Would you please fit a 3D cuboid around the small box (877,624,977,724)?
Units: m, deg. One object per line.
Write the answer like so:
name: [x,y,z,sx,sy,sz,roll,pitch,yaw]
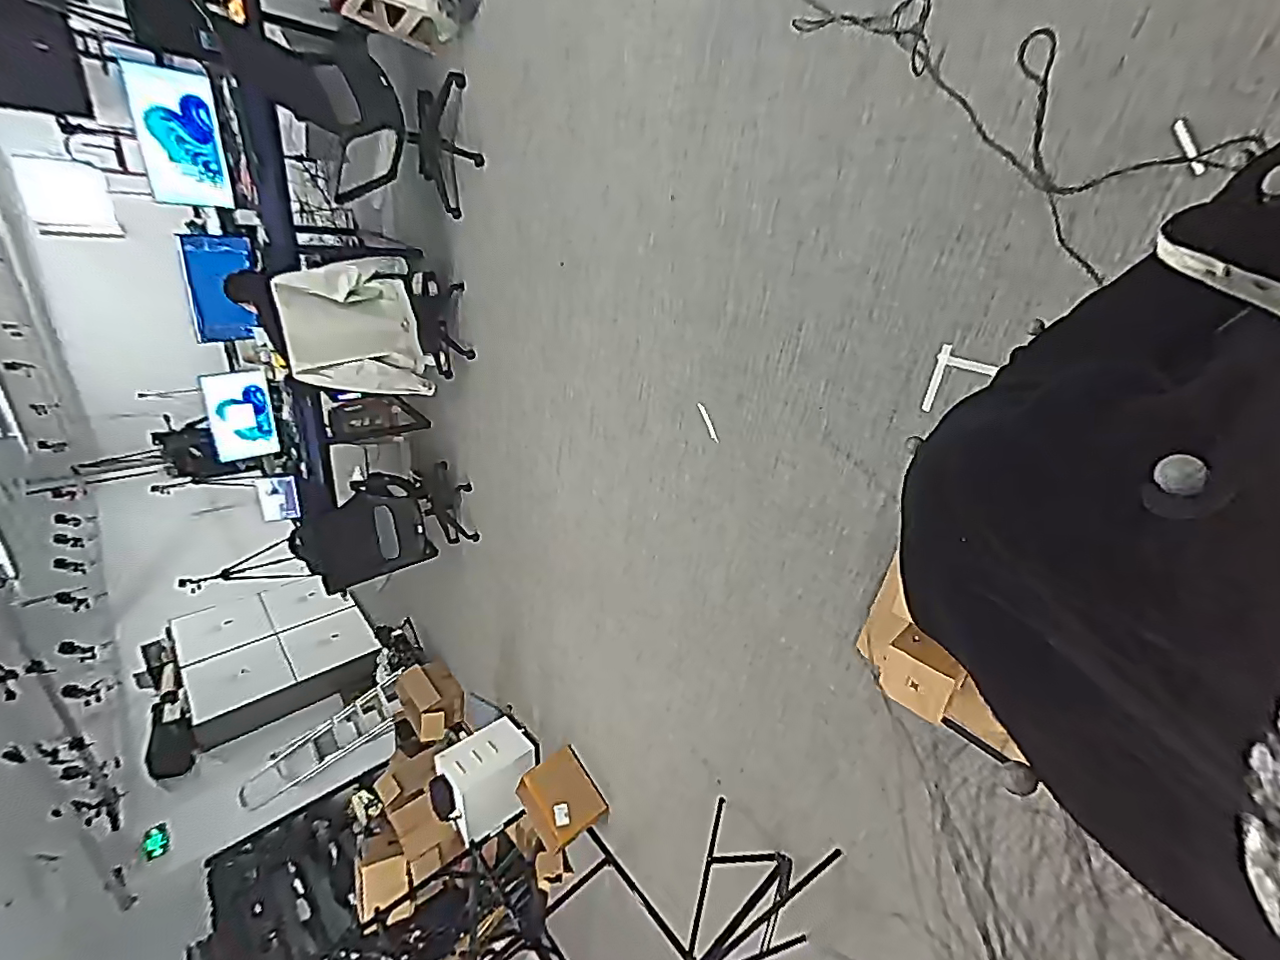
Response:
small box: [0.793,0.524,1.498,0.179,0.176,0.168,25,123,40]
